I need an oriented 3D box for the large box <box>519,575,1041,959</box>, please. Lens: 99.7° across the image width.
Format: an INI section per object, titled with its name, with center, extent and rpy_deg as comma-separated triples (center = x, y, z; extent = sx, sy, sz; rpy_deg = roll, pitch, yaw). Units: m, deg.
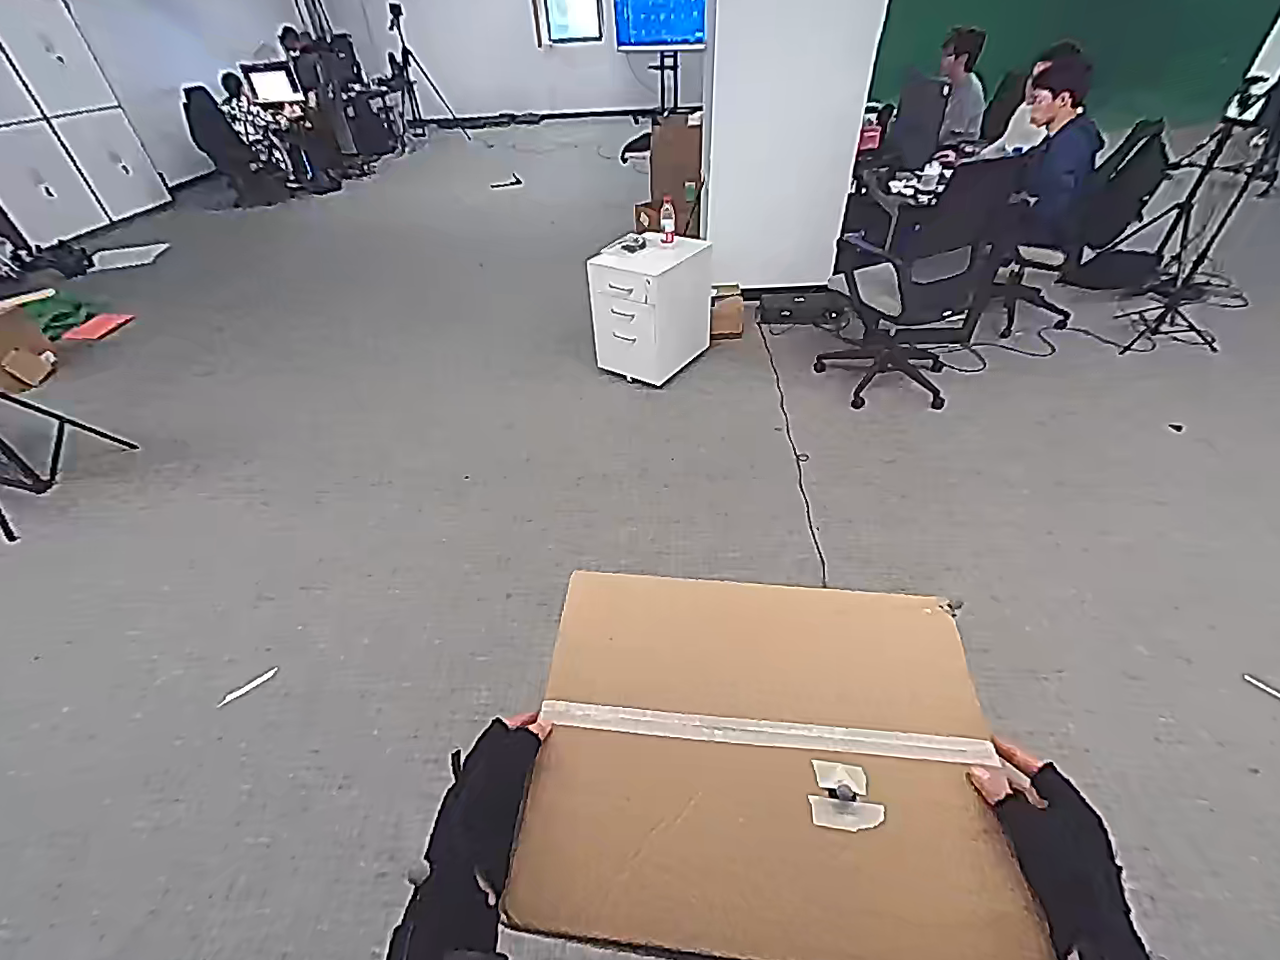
[large box]
center = 0.116, 0.331, 0.619
extent = 0.408, 0.320, 0.320
rpy_deg = 3, 49, 6
